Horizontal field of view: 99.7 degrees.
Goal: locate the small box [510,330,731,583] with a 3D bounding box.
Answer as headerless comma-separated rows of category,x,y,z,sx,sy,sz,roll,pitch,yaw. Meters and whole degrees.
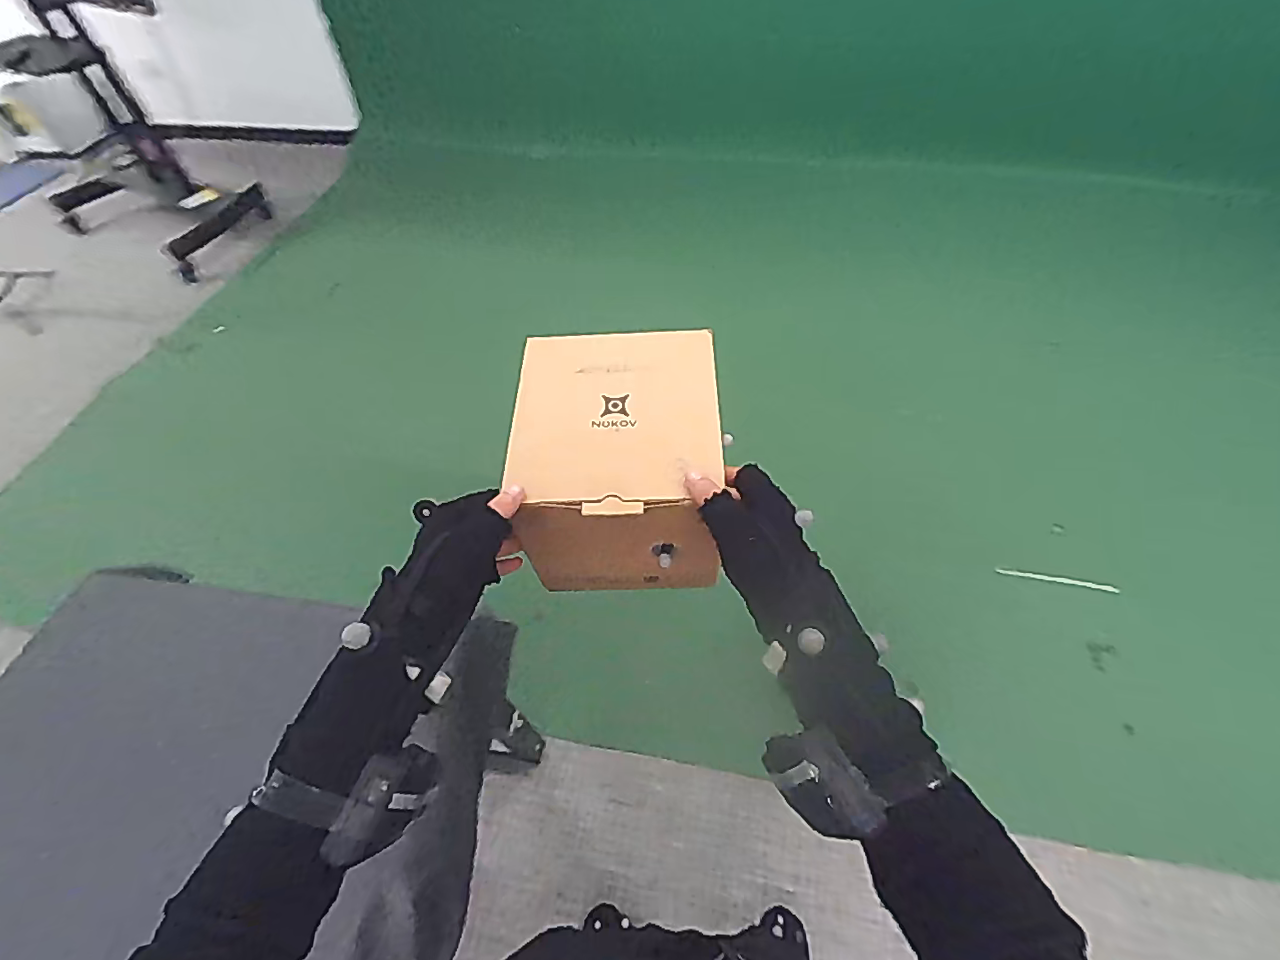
small box,-0.008,-0.012,0.499,0.168,0.176,0.179,-2,56,3
